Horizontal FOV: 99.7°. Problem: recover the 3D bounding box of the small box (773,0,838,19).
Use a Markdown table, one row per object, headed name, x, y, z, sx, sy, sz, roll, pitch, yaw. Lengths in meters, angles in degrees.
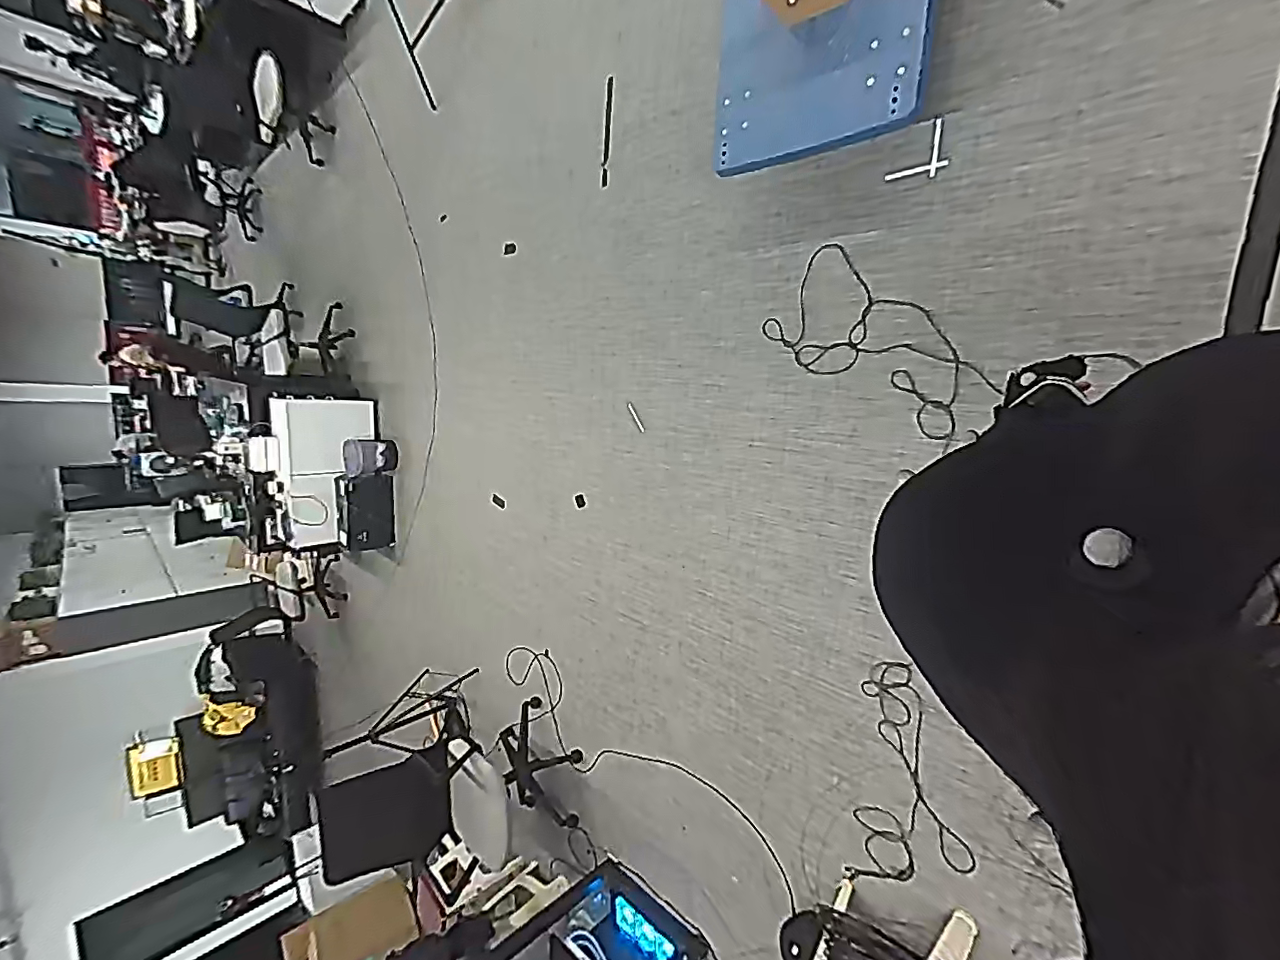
| name | x | y | z | sx | sy | sz | roll | pitch | yaw |
| --- | --- | --- | --- | --- | --- | --- | --- | --- | --- |
| small box | 0.399 | -1.247 | 1.276 | 0.179 | 0.176 | 0.168 | 15 | 106 | 44 |
